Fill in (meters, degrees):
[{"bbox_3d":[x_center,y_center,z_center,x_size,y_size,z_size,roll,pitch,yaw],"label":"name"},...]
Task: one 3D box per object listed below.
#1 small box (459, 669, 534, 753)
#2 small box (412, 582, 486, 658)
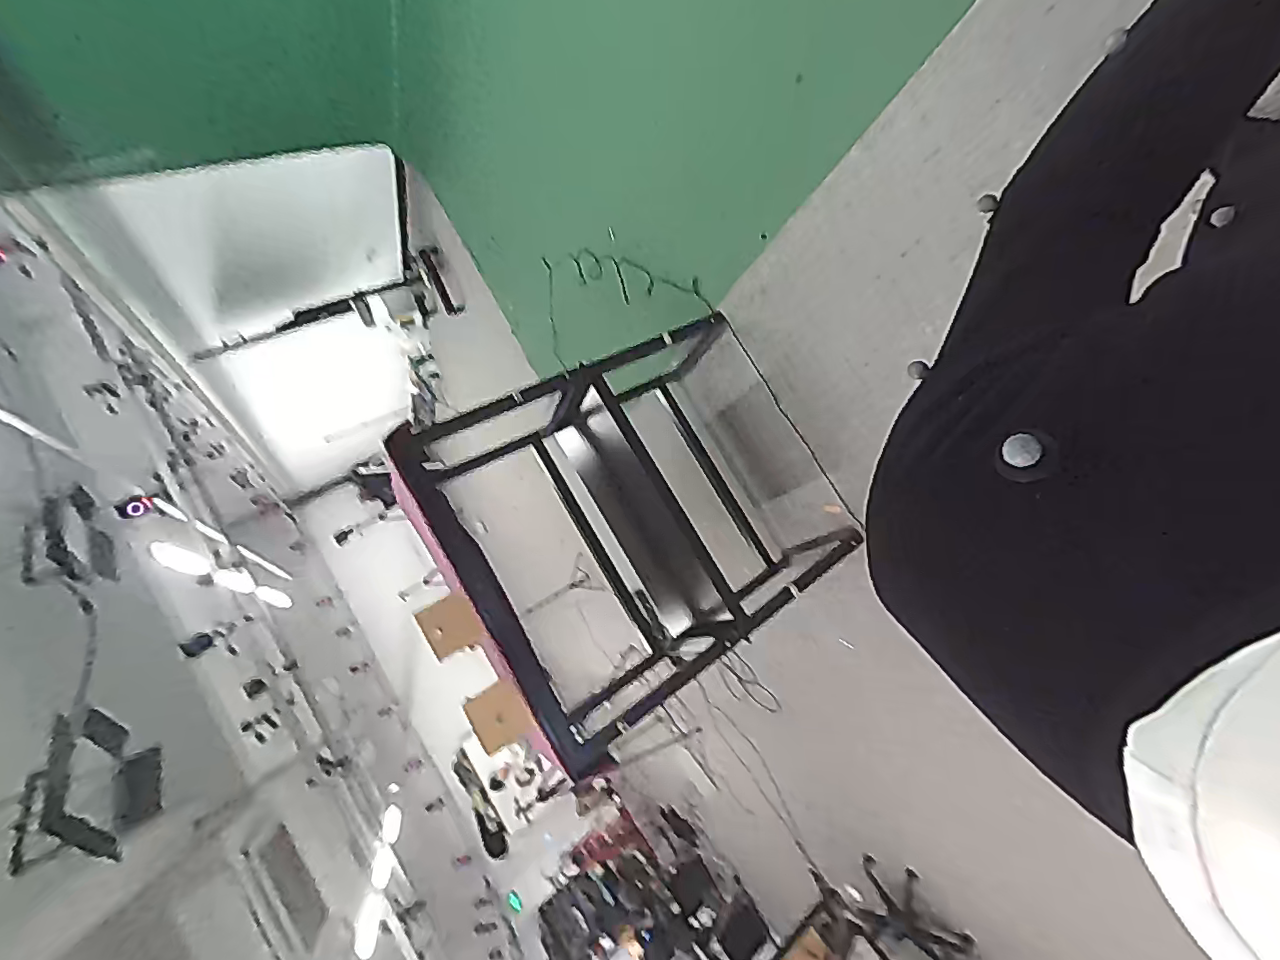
[{"bbox_3d":[-0.454,0.725,1.711,0.179,0.176,0.168,59,154,7],"label":"small box"},{"bbox_3d":[-0.611,0.453,1.742,0.179,0.176,0.168,60,154,6],"label":"small box"}]
